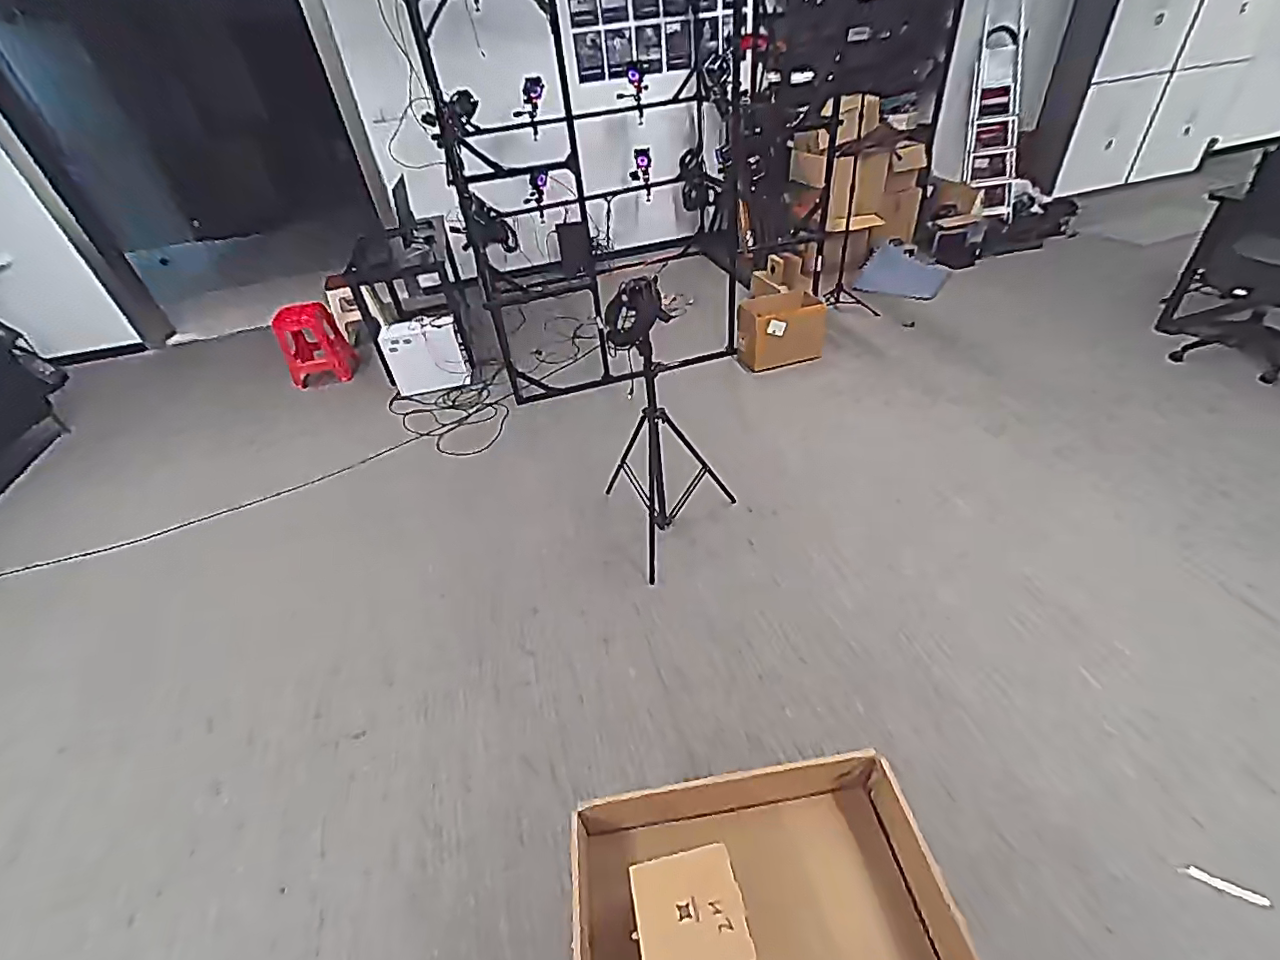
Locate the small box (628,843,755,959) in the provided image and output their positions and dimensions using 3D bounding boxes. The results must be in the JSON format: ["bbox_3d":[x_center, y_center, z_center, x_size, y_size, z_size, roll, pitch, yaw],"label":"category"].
[{"bbox_3d":[0.085,0.757,0.919,0.179,0.176,0.168,-10,39,-5],"label":"small box"}]
